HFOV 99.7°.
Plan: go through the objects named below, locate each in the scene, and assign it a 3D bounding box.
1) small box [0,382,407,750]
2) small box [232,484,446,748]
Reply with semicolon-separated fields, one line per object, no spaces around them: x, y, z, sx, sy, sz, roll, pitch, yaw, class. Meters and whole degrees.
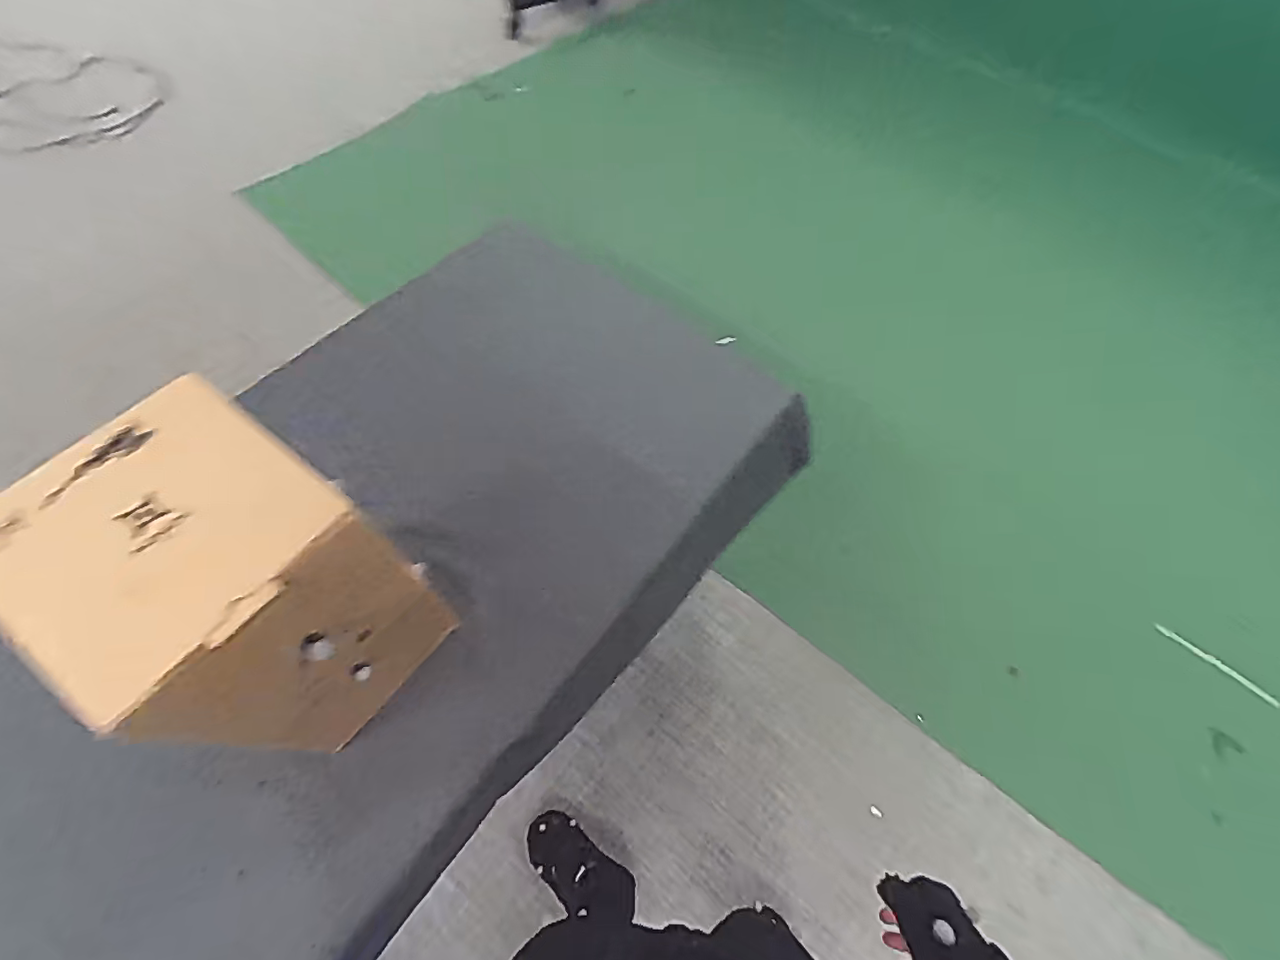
-0.308;0.070;0.399;0.179;0.176;0.168;35;65;12;small box
-0.326;0.144;0.544;0.168;0.176;0.179;35;63;13;small box
